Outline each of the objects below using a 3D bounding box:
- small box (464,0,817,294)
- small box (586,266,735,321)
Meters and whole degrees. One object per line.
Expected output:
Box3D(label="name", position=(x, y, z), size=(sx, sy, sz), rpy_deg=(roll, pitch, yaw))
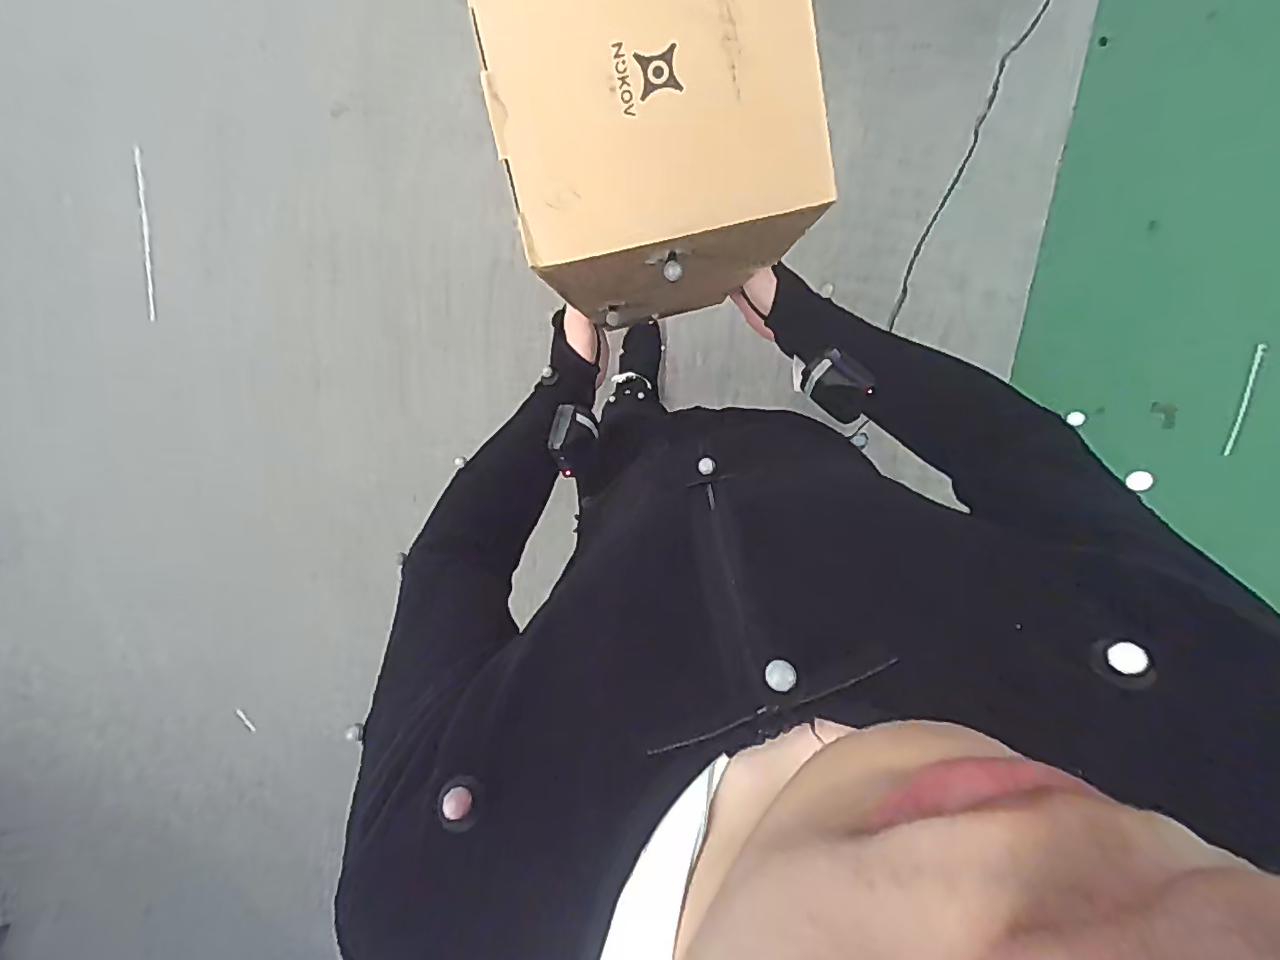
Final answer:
Box3D(label="small box", position=(0.005, -0.235, 0.369), size=(0.179, 0.176, 0.168), rpy_deg=(-10, 100, 5))
Box3D(label="small box", position=(0.014, -0.309, 0.688), size=(0.179, 0.176, 0.168), rpy_deg=(-12, 99, 4))
